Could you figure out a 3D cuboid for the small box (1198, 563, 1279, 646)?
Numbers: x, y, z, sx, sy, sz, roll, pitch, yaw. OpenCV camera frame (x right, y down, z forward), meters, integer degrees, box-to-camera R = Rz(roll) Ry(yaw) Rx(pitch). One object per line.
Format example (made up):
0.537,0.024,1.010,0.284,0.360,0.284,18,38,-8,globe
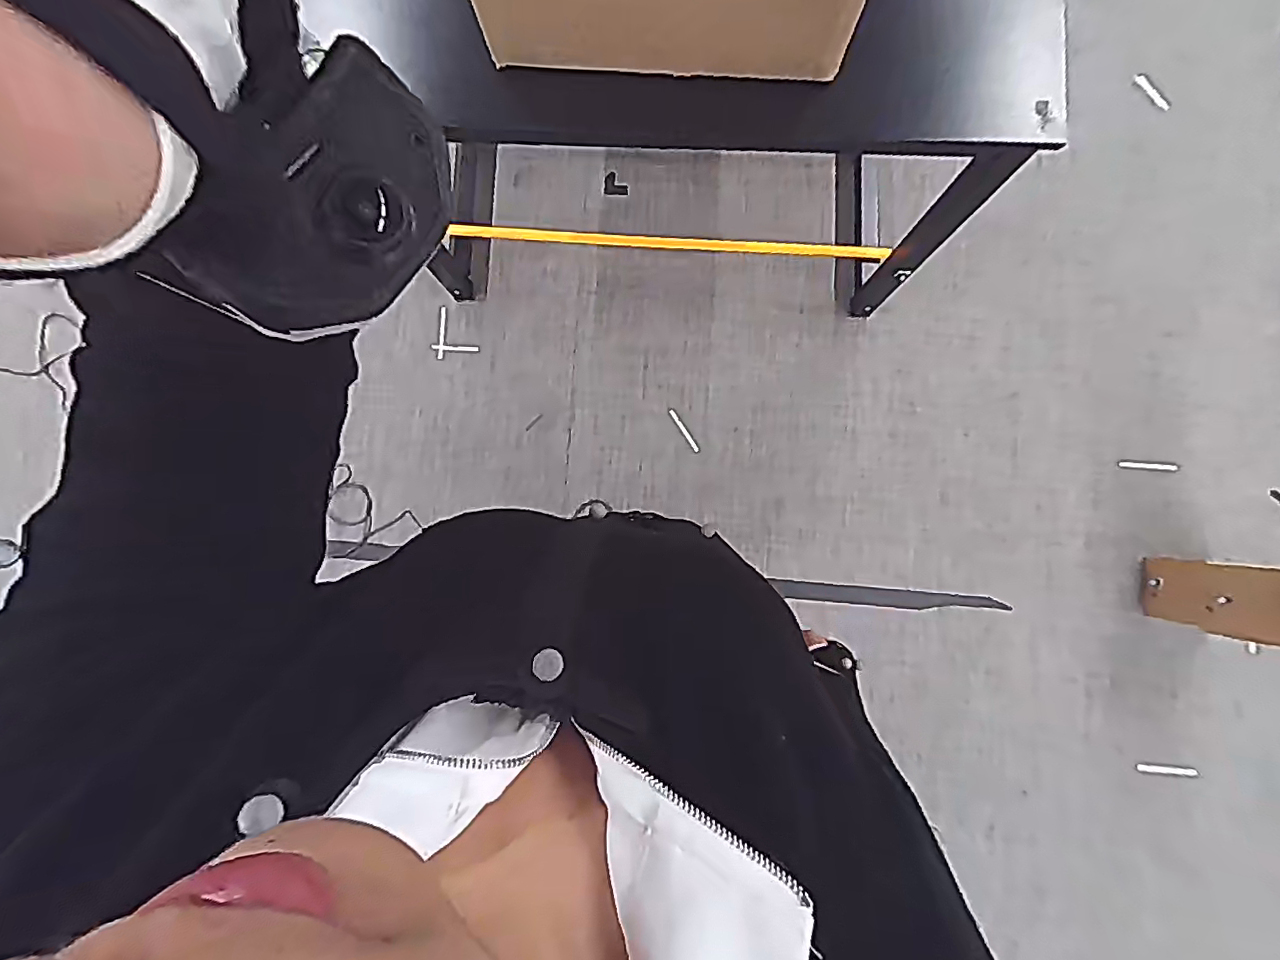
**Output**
1.422,0.278,1.209,0.179,0.176,0.168,4,85,2,small box

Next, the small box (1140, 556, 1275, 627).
1.436,0.284,1.374,0.179,0.176,0.168,4,85,3,small box
